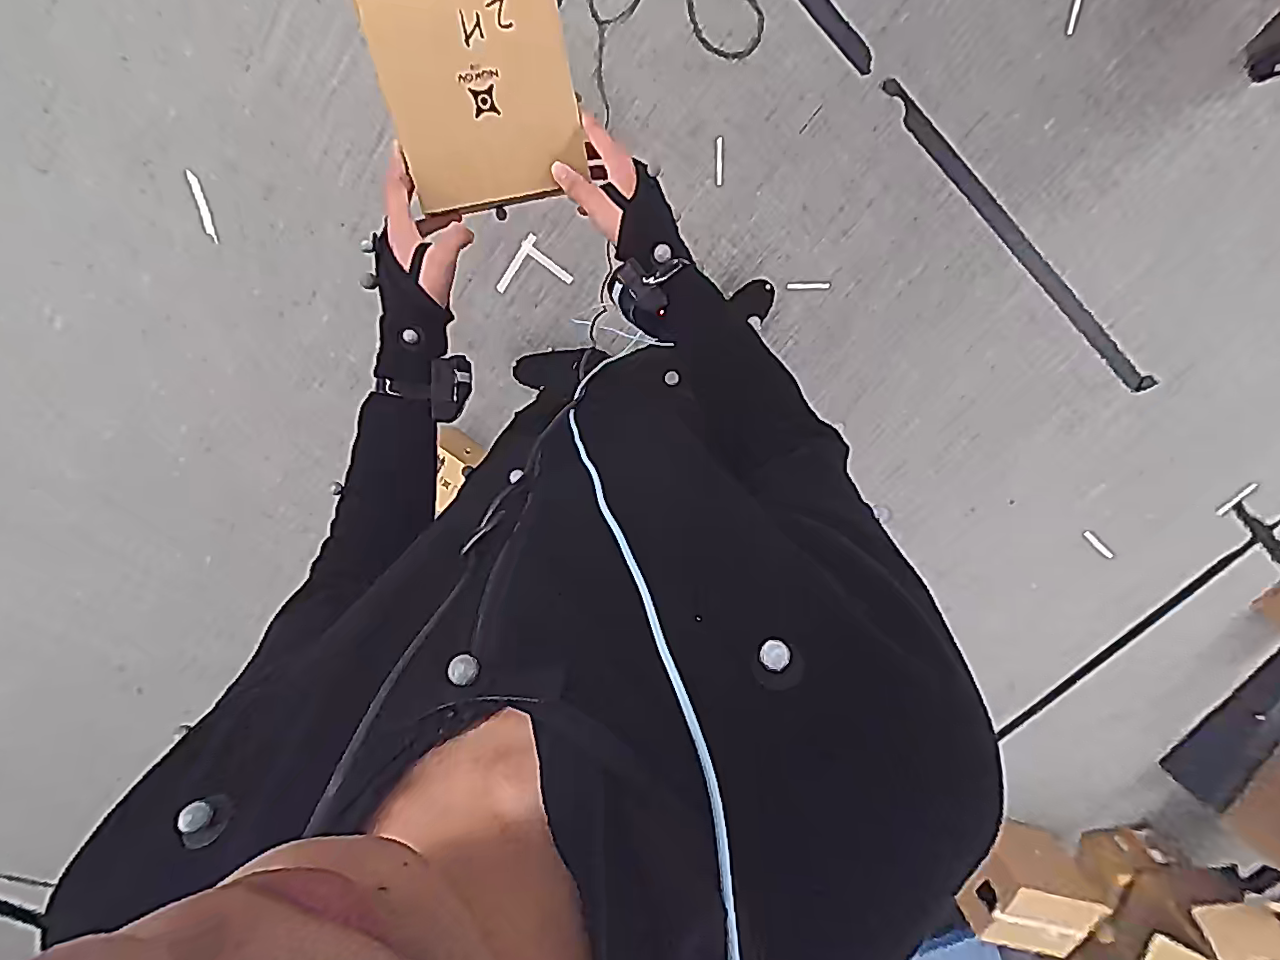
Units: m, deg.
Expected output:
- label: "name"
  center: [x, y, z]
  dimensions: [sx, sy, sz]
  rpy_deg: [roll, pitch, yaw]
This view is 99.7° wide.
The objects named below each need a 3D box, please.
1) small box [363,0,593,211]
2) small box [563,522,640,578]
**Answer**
- label: "small box"
  center: [-0.157, -0.379, 0.546]
  dimensions: [0.168, 0.176, 0.179]
  rpy_deg: [-16, 117, -12]
- label: "small box"
  center: [-0.120, 0.255, 1.695]
  dimensions: [0.179, 0.176, 0.168]
  rpy_deg: [35, 106, -16]
